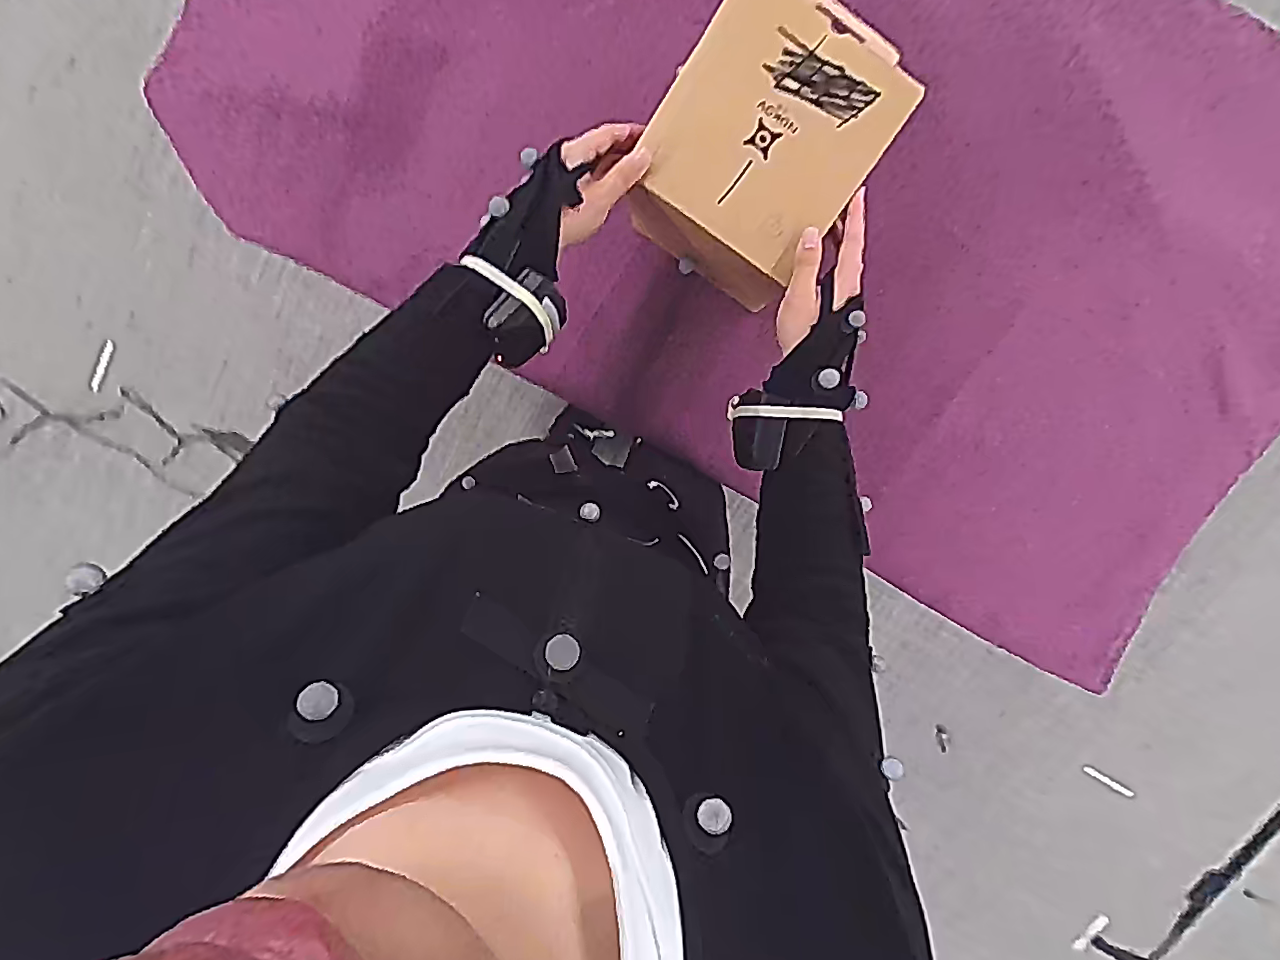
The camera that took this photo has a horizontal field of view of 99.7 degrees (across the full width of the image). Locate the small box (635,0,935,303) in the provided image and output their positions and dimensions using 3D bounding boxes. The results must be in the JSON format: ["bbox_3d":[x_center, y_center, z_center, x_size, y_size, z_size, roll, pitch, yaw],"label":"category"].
[{"bbox_3d":[0.110,-0.287,0.490,0.168,0.176,0.179,35,100,-4],"label":"small box"}]
